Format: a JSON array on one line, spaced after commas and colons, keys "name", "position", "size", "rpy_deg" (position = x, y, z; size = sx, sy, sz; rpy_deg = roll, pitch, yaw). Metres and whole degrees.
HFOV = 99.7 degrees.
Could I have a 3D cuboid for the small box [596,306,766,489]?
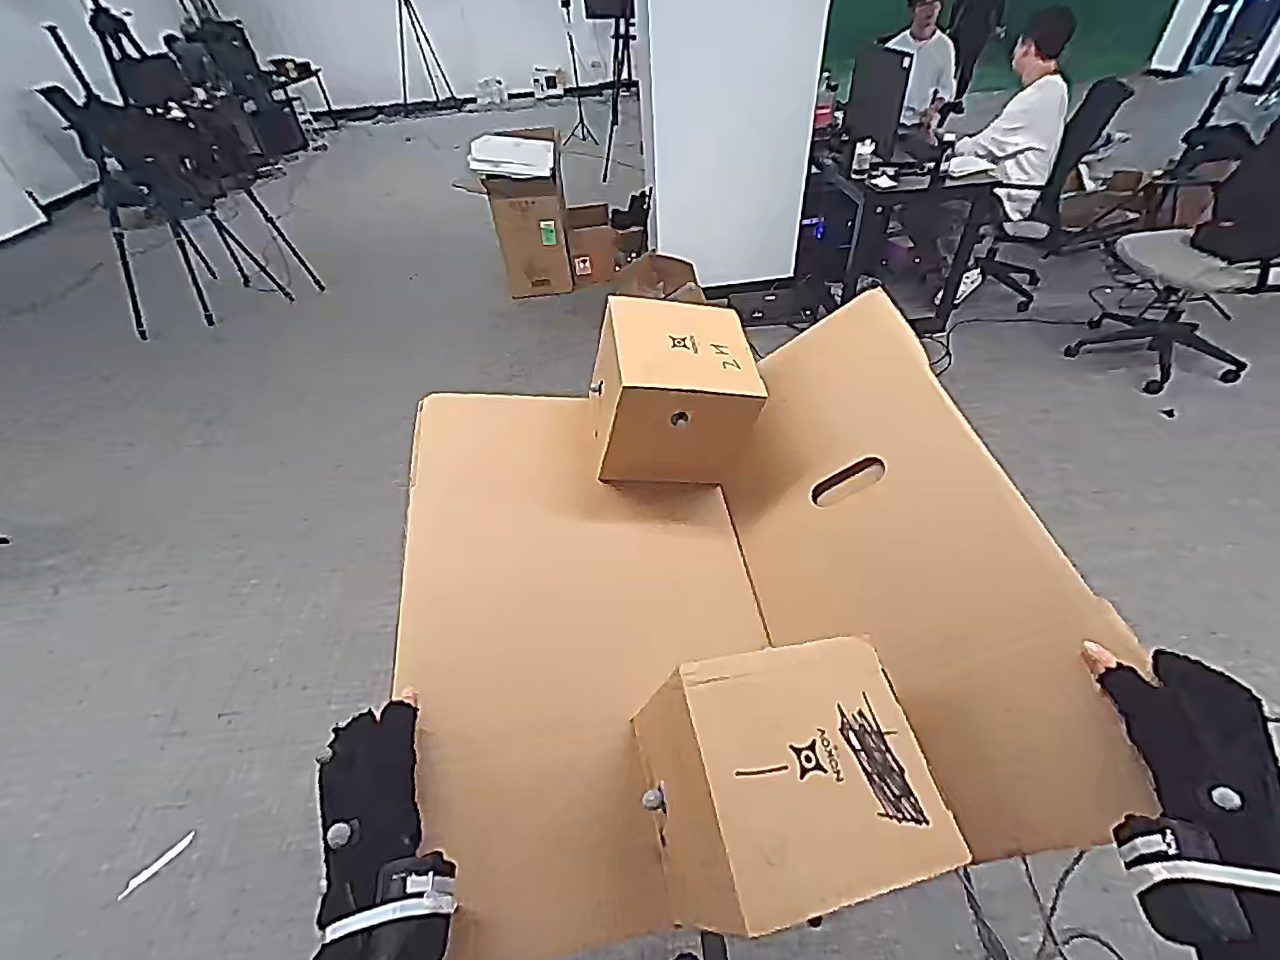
[{"name": "small box", "position": [0.038, -0.102, 0.713], "size": [0.179, 0.176, 0.168], "rpy_deg": [3, 52, -14]}]
